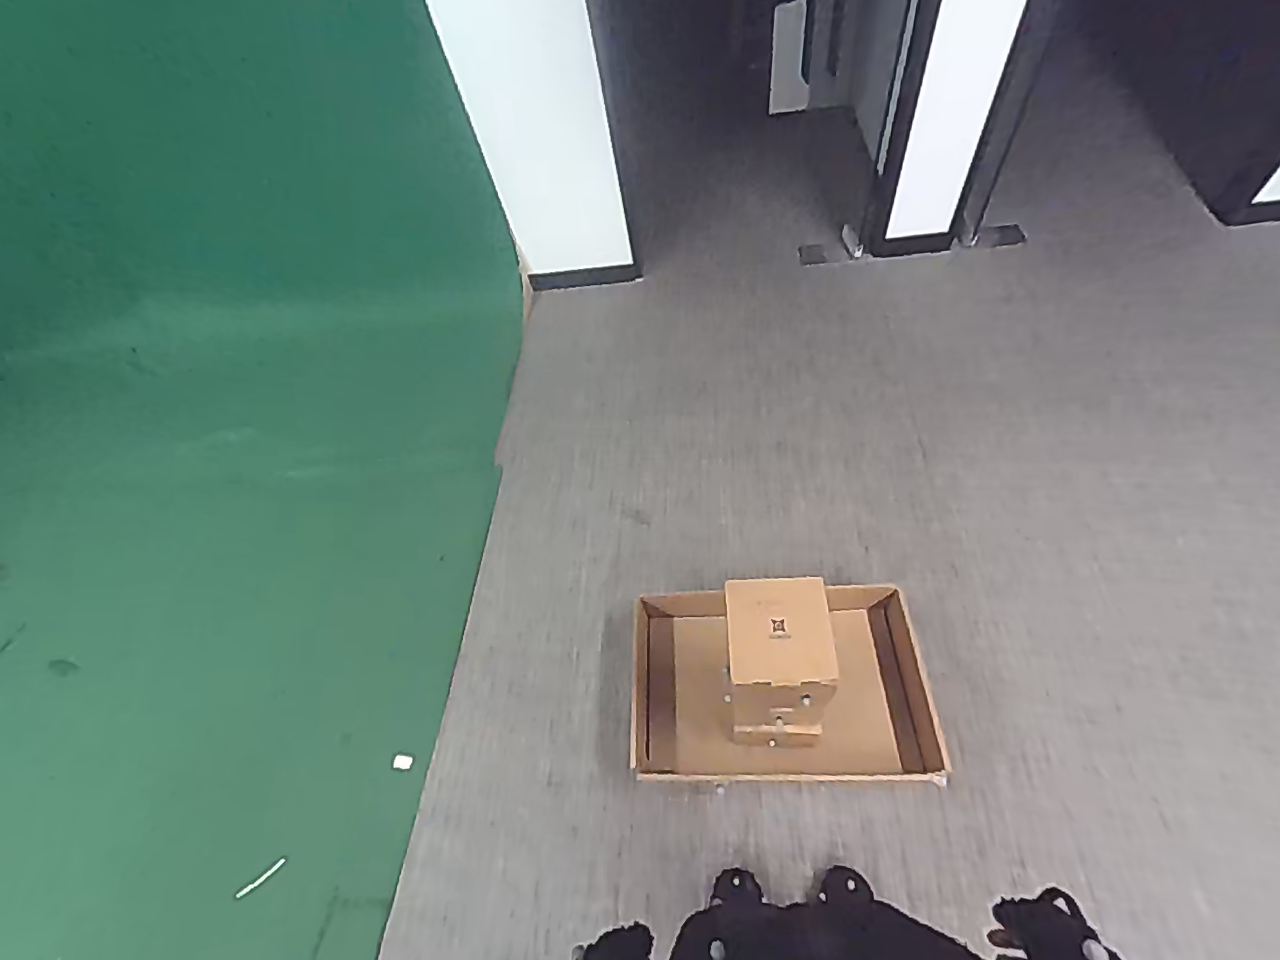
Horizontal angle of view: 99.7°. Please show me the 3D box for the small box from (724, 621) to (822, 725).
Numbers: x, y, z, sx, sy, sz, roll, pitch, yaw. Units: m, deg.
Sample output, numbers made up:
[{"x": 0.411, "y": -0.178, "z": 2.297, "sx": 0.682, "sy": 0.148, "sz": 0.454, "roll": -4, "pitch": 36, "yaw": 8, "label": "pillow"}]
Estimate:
[{"x": 0.264, "y": 0.390, "z": 1.091, "sx": 0.168, "sy": 0.176, "sz": 0.179, "roll": -6, "pitch": 54, "yaw": 8, "label": "small box"}]

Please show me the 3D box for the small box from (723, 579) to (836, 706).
[{"x": 0.234, "y": 0.288, "z": 0.943, "sx": 0.168, "sy": 0.176, "sz": 0.179, "roll": -3, "pitch": 54, "yaw": 8, "label": "small box"}]

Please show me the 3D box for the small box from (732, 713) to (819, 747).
[{"x": 0.295, "y": 0.493, "z": 1.210, "sx": 0.179, "sy": 0.176, "sz": 0.168, "roll": -2, "pitch": 54, "yaw": 11, "label": "small box"}]
